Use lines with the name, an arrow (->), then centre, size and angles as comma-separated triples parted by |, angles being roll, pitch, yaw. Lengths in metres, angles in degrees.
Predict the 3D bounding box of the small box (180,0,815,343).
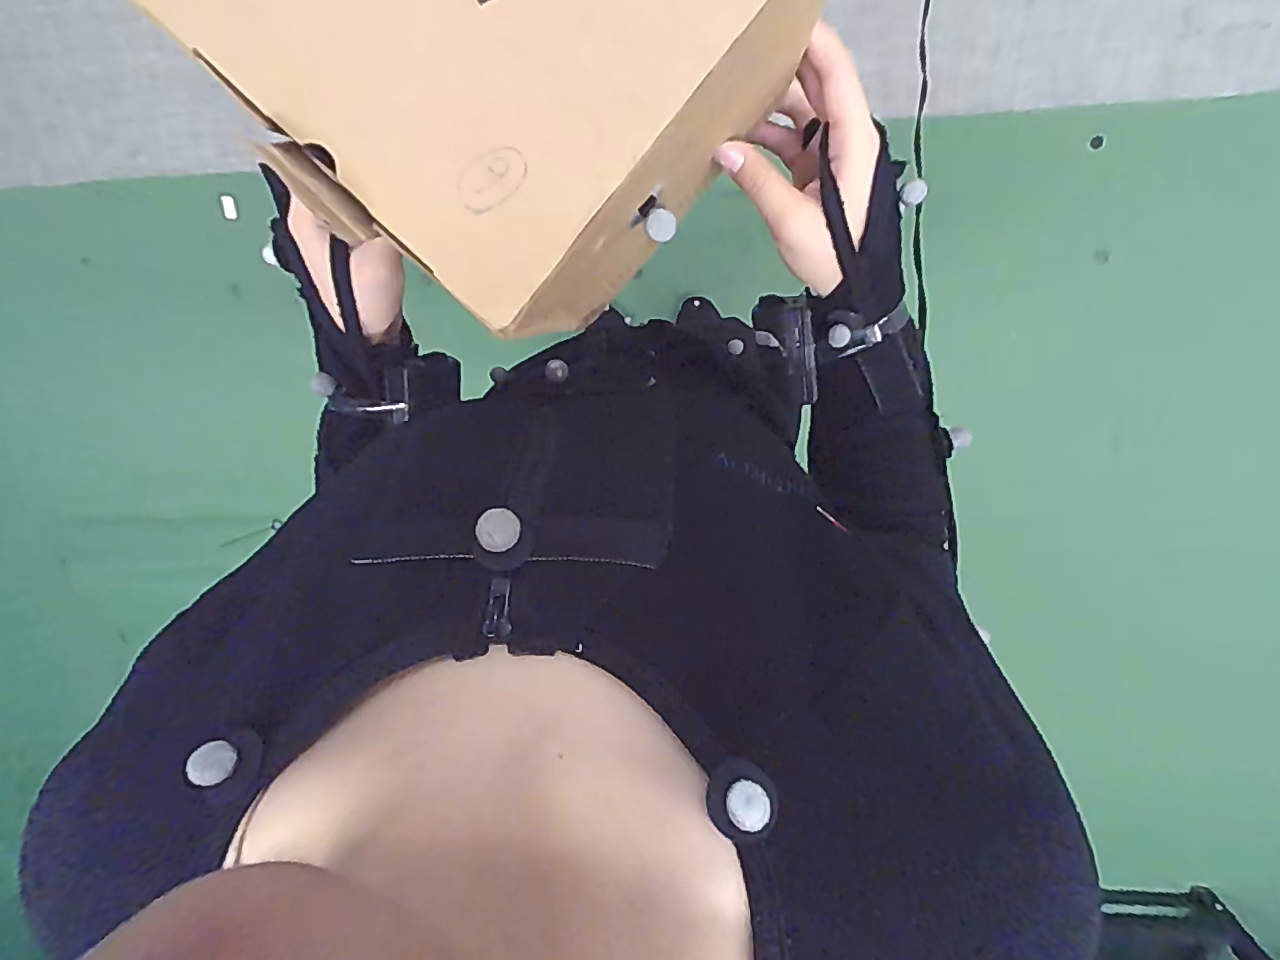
small box -> -0.040, -0.187, 0.254 | 0.168, 0.176, 0.179 | 42, 106, -8
